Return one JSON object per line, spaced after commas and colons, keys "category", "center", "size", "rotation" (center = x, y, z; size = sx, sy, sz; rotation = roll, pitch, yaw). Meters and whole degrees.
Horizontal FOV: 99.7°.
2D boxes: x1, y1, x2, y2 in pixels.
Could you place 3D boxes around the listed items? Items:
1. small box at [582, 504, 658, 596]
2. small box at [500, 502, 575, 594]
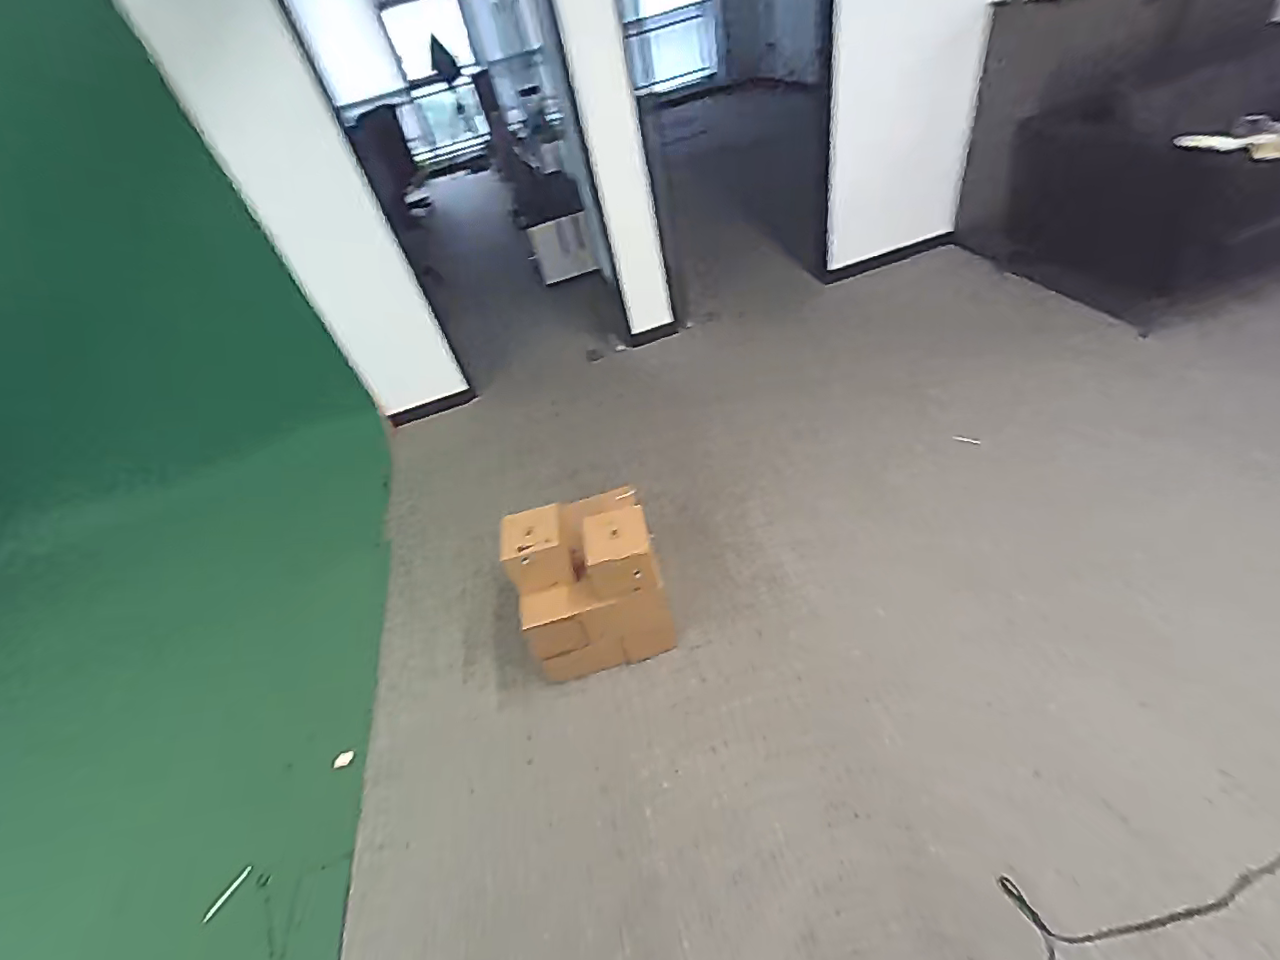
{"category": "small box", "center": [-0.054, 0.197, 1.478], "size": [0.168, 0.176, 0.179], "rotation": [-13, 40, 1]}
{"category": "small box", "center": [-0.291, 0.197, 1.555], "size": [0.168, 0.176, 0.179], "rotation": [-16, 40, 2]}
